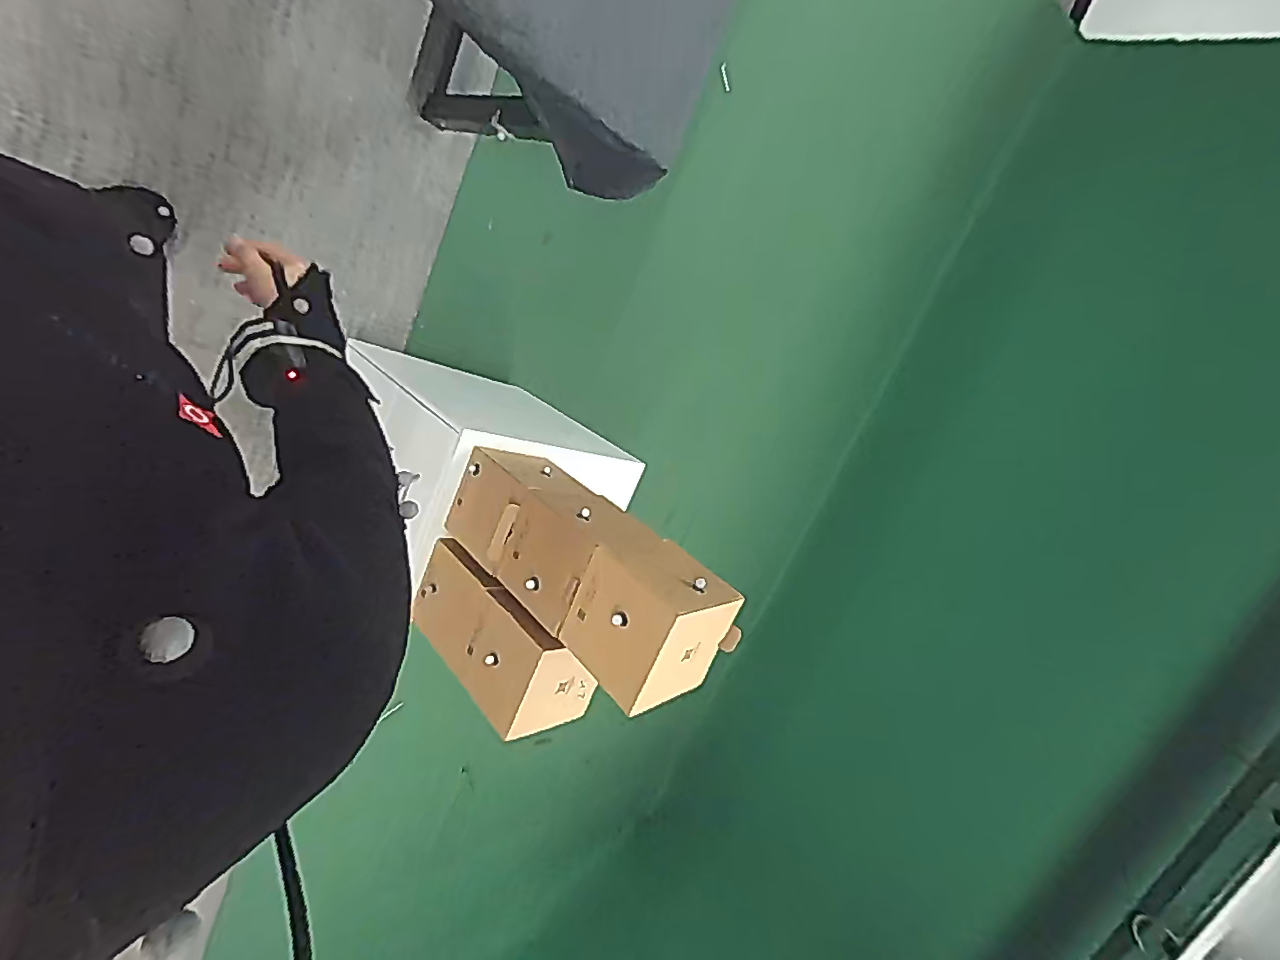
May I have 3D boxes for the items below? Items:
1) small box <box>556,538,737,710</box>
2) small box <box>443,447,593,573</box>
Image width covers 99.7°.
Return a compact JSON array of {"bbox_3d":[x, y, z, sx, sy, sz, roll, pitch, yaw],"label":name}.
[{"bbox_3d":[0.005,0.199,0.803,0.179,0.176,0.168,3,115,-52],"label":"small box"},{"bbox_3d":[-0.225,0.052,0.979,0.179,0.176,0.168,9,110,-53],"label":"small box"}]
